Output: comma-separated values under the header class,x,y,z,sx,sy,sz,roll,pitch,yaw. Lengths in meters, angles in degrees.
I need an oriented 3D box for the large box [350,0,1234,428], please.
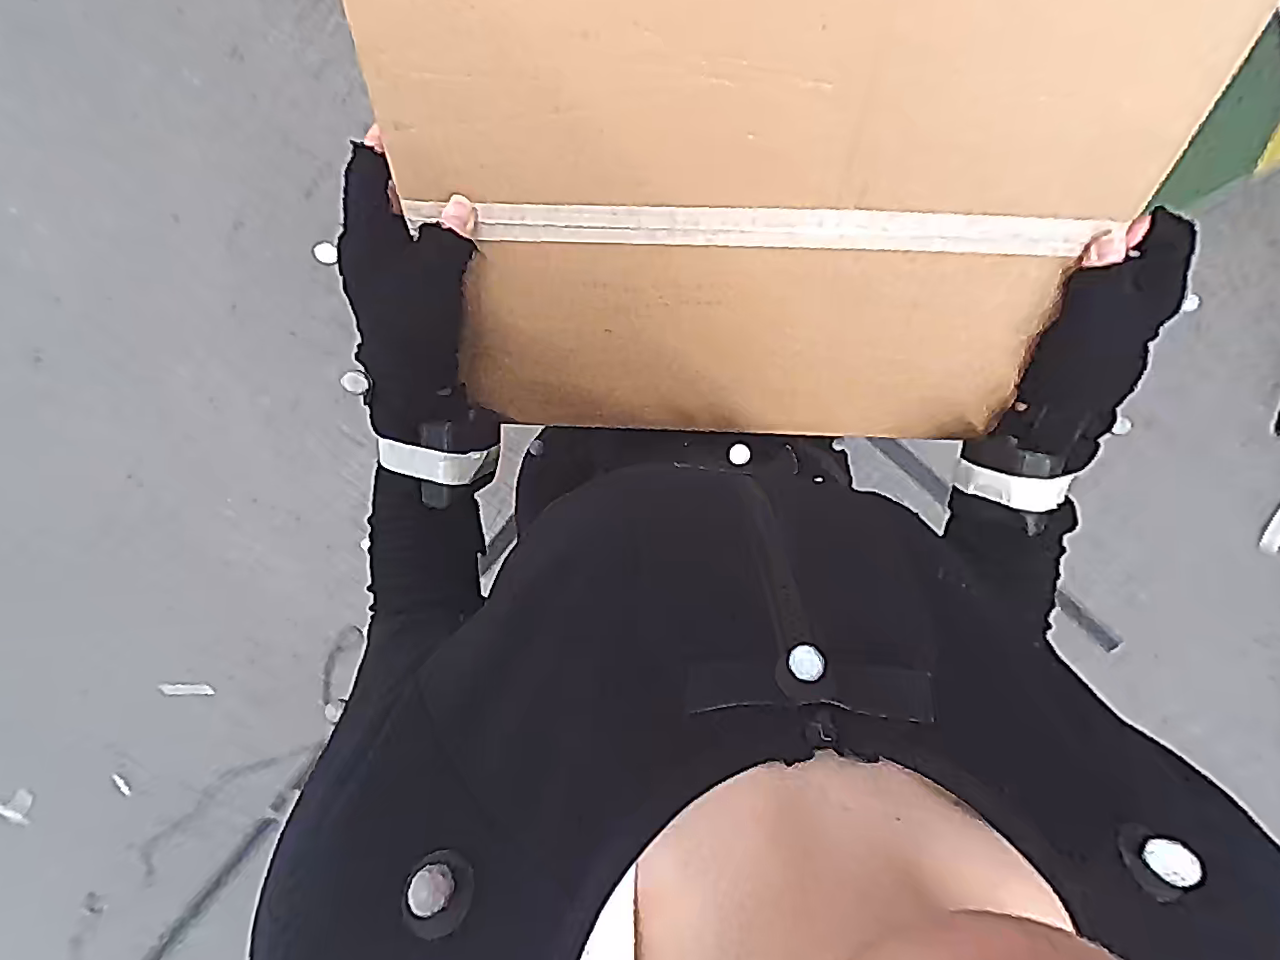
class,x,y,z,sx,sy,sz,roll,pitch,yaw
large box,0.067,-0.255,0.421,0.408,0.320,0.320,1,138,0
